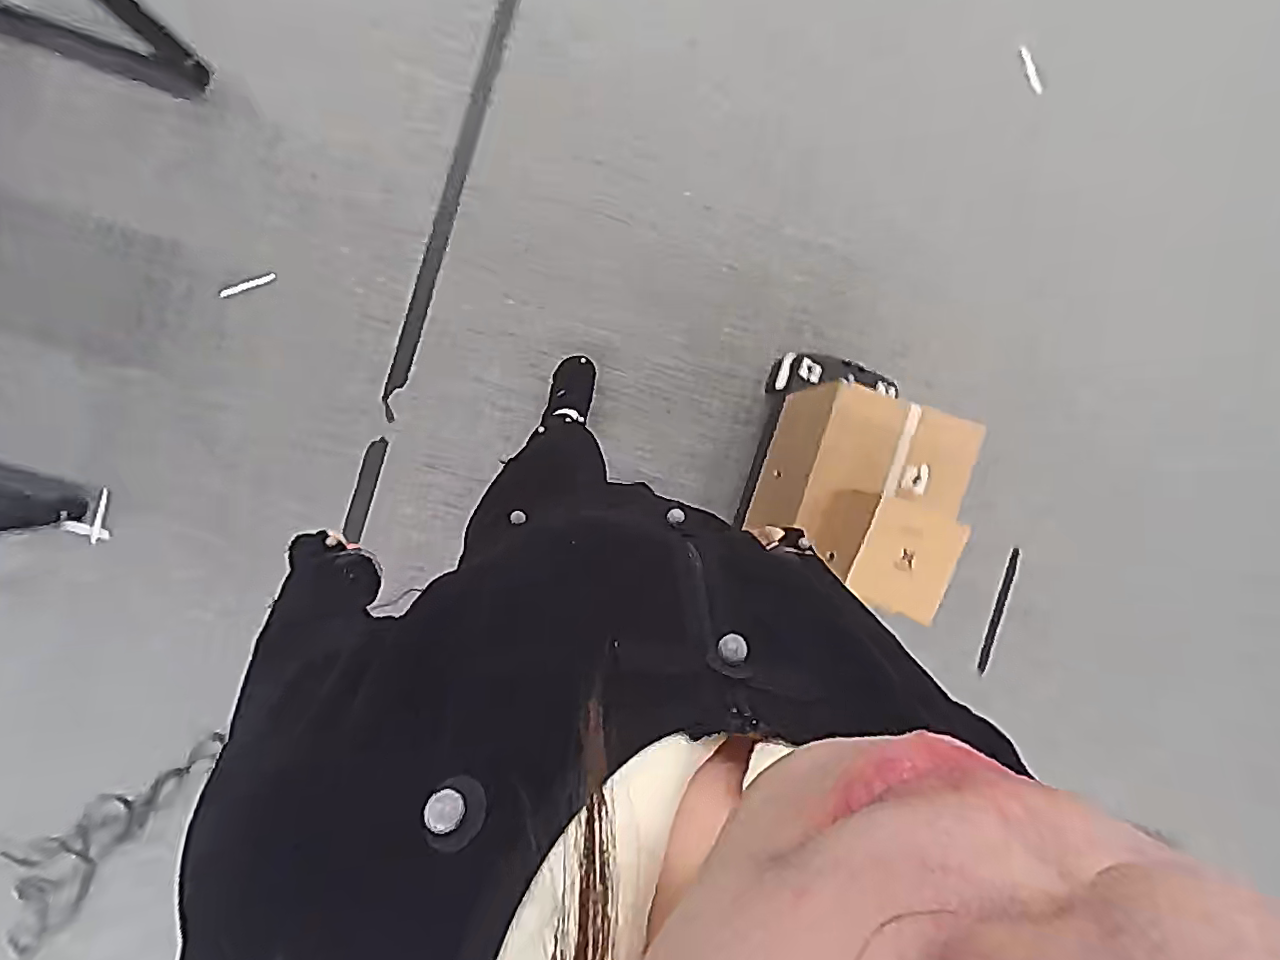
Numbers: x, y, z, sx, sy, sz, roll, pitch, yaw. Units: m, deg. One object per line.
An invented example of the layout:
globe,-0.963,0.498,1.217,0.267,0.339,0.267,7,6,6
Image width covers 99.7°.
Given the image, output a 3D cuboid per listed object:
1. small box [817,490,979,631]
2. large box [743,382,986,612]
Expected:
small box,0.433,0.130,0.942,0.168,0.176,0.179,23,91,-5
large box,0.459,0.042,1.185,0.320,0.320,0.408,18,91,-6
